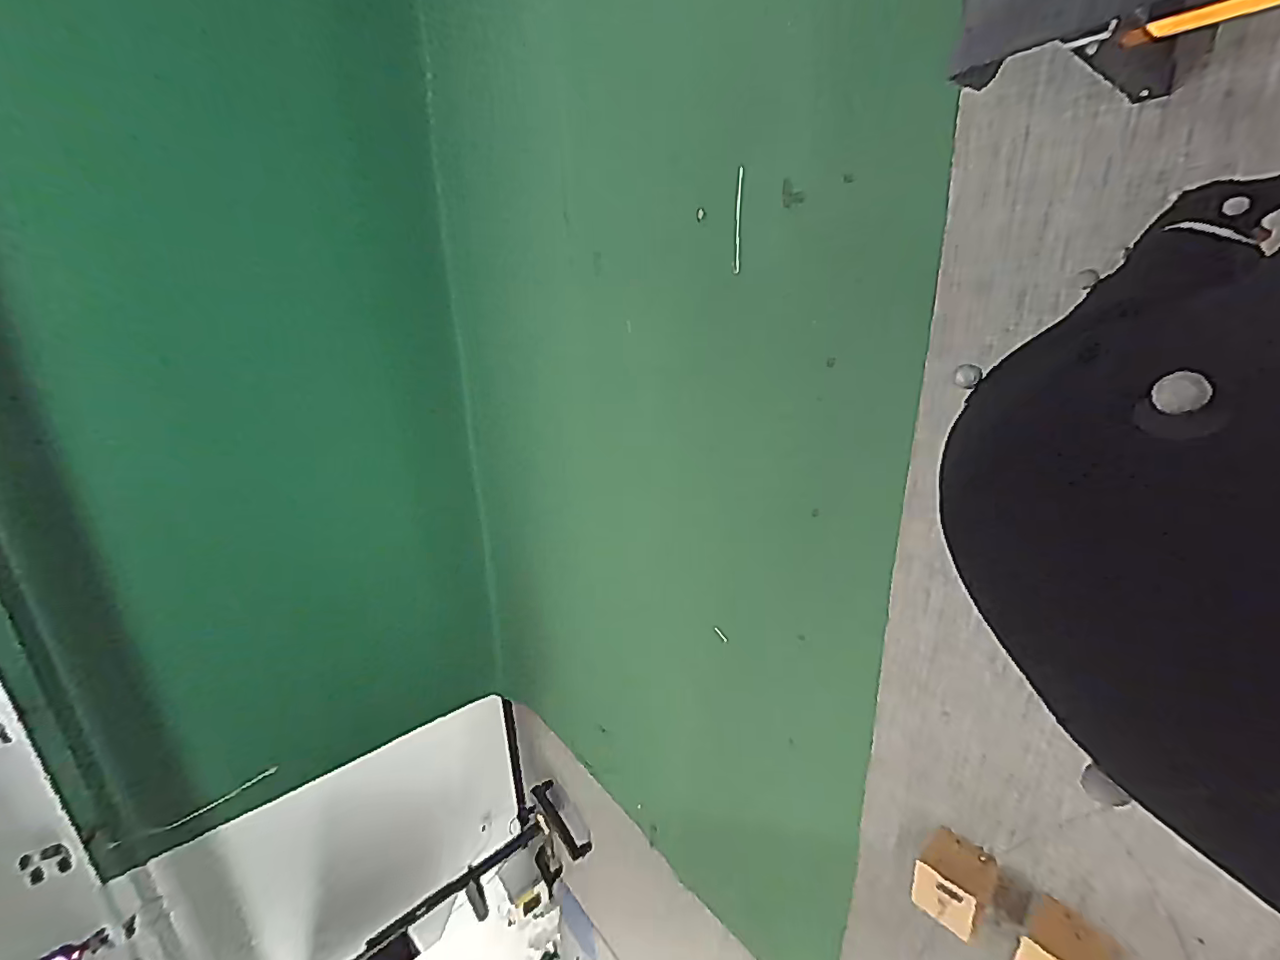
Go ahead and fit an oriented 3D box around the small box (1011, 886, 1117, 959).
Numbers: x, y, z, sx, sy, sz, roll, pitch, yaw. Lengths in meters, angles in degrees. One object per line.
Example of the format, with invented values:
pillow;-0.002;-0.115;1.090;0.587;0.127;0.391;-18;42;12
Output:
small box;1.131;1.250;1.441;0.168;0.176;0.179;23;120;47

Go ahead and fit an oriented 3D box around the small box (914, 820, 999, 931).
small box;0.961;1.187;1.639;0.168;0.176;0.179;18;118;49
